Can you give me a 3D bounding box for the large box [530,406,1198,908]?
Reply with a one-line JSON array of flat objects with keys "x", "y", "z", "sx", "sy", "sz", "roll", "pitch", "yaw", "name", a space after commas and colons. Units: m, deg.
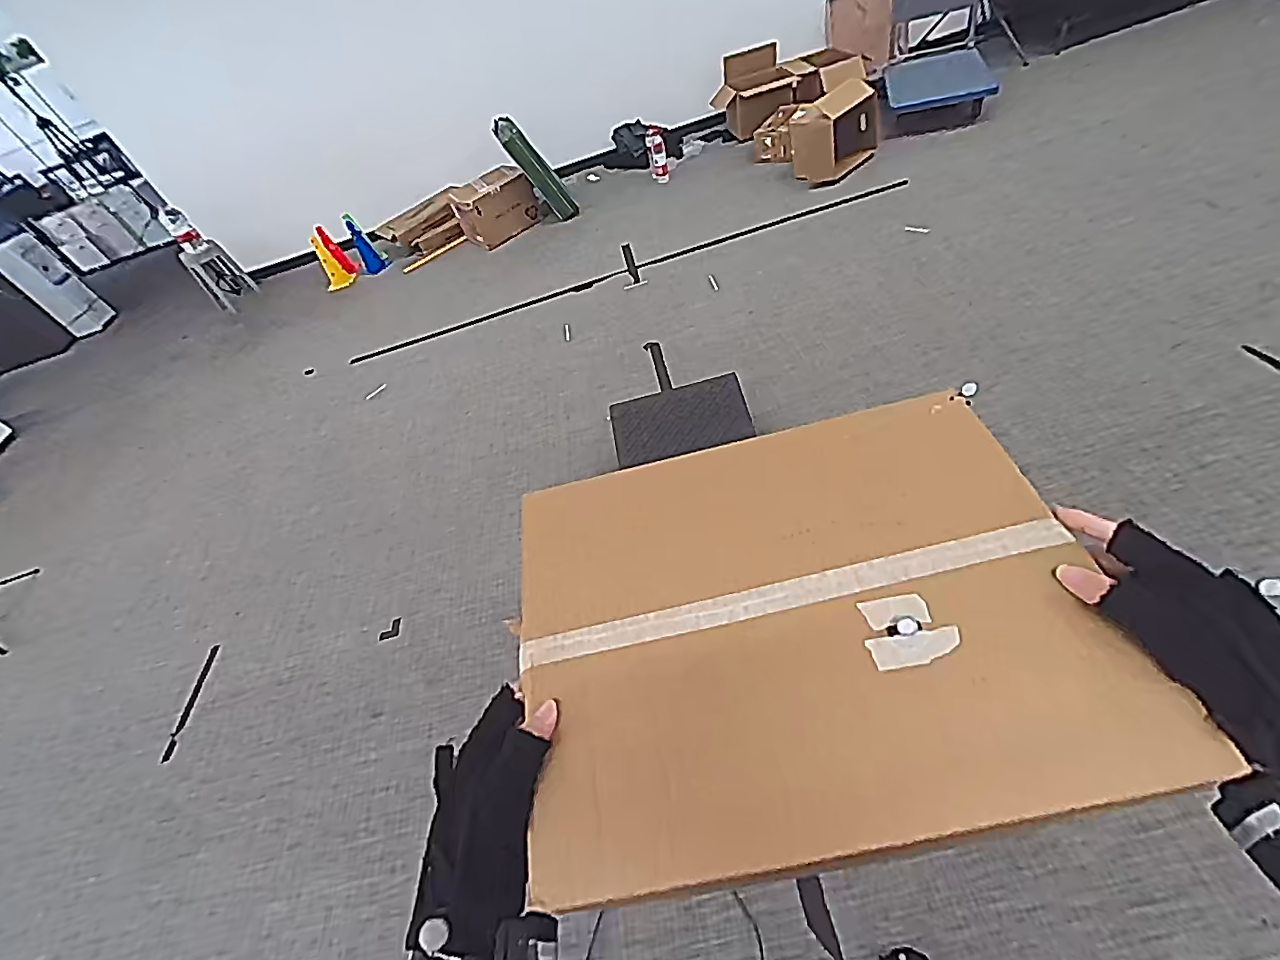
[{"x": 0.138, "y": 0.185, "z": 0.529, "sx": 0.408, "sy": 0.320, "sz": 0.320, "roll": -14, "pitch": 52, "yaw": 3, "name": "large box"}]
